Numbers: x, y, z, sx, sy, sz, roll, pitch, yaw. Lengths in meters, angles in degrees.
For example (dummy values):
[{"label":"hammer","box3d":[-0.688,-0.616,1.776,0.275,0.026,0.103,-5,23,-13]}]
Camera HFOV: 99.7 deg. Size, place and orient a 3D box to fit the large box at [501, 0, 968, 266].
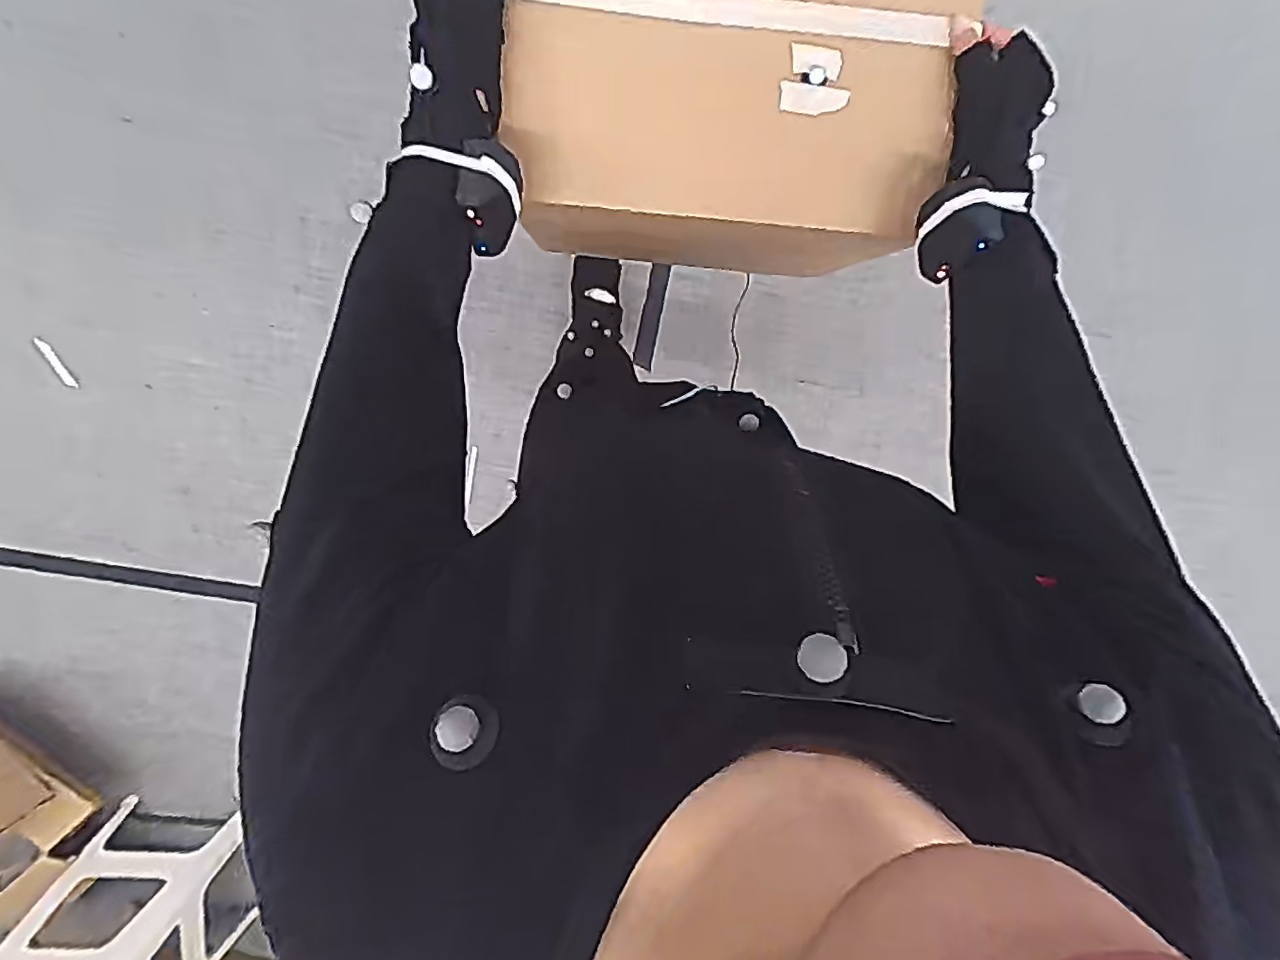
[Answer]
[{"label":"large box","box3d":[0.072,-0.433,0.602,0.408,0.320,0.320,3,105,-4]}]
